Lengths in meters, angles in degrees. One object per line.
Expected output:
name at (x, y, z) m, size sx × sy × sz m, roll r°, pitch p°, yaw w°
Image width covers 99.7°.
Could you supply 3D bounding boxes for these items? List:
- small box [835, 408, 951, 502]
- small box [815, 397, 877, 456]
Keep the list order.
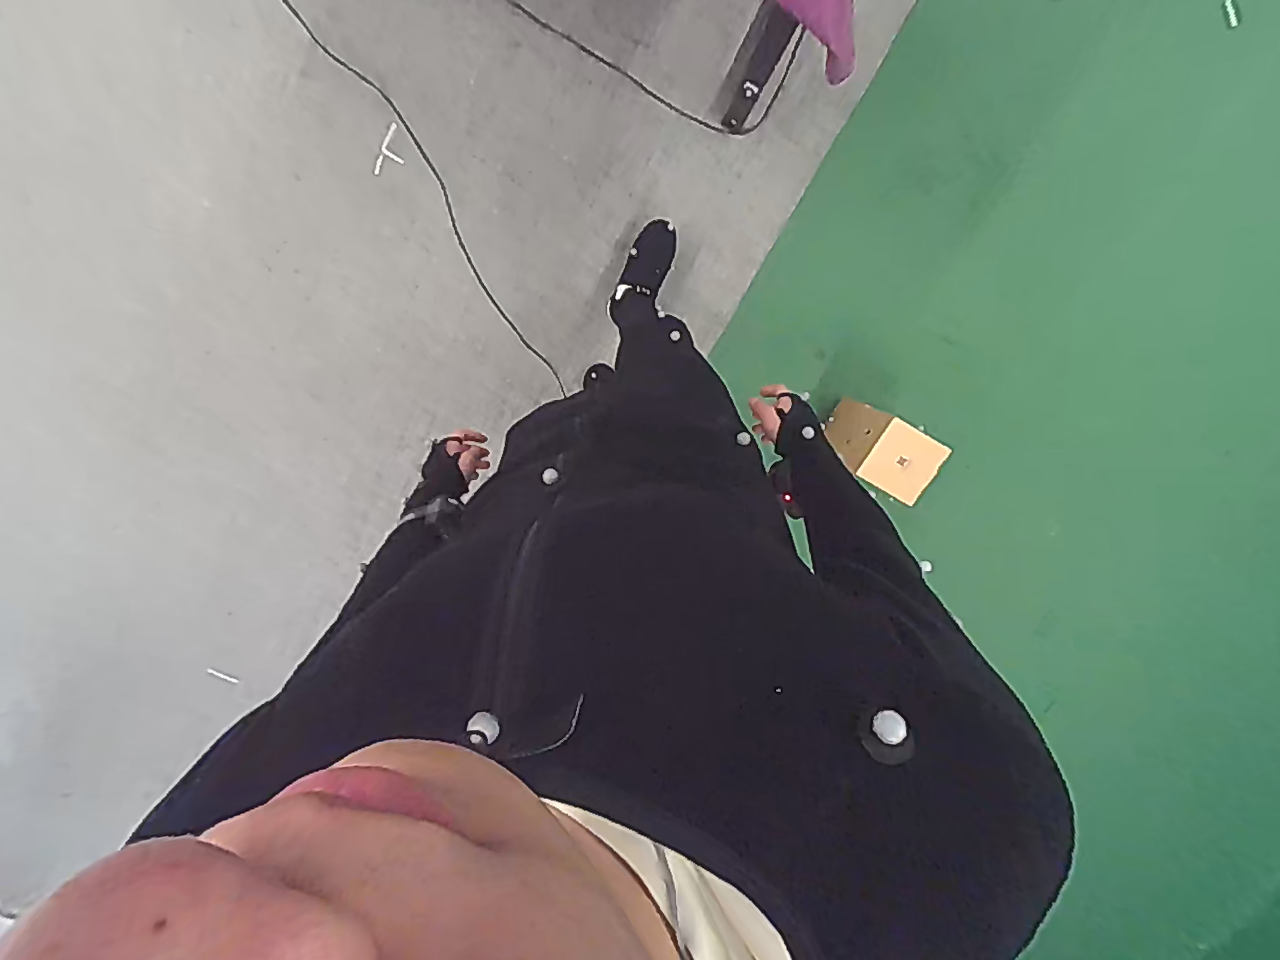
small box at (0.633, -0.071, 1.381) m, size 0.179 × 0.176 × 0.168 m, roll 27°, pitch 104°, yaw -10°
small box at (0.631, -0.121, 1.534) m, size 0.179 × 0.176 × 0.168 m, roll 28°, pitch 104°, yaw -8°
